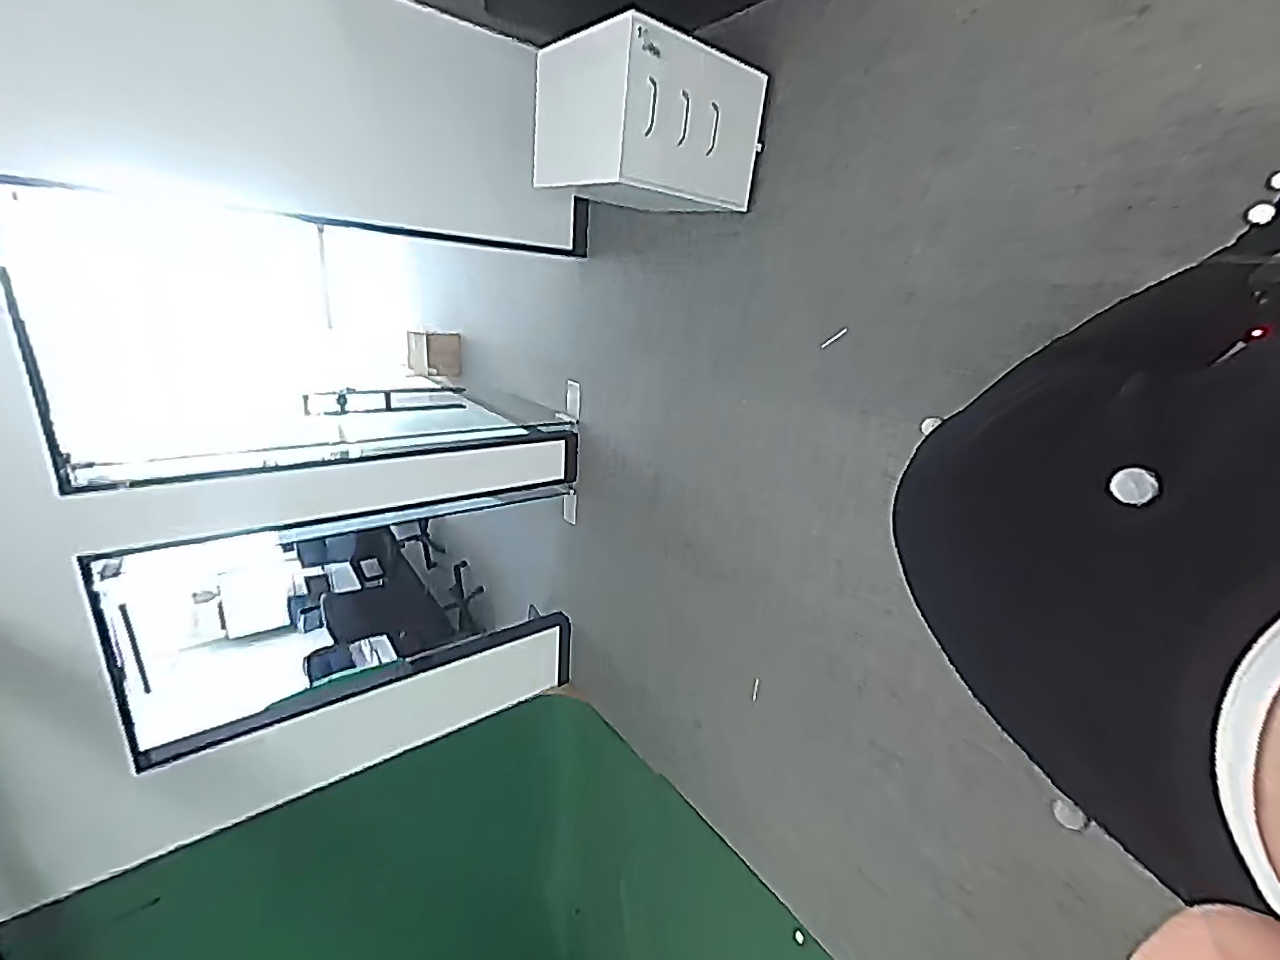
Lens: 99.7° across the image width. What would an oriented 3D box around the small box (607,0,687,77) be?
[{"bbox_3d":[0.024,-1.488,1.790,0.179,0.176,0.168,-38,20,47],"label":"small box"}]
